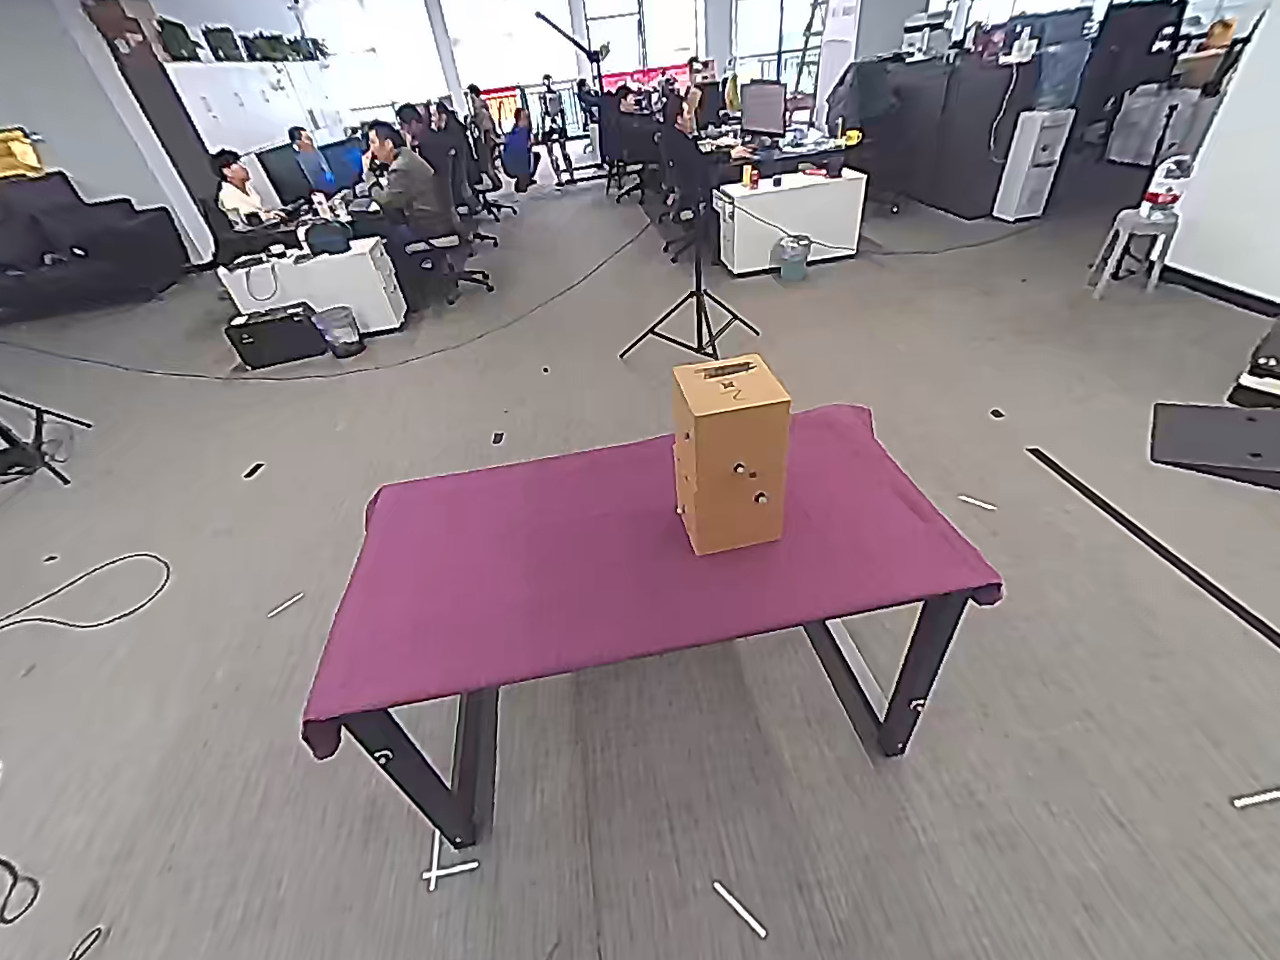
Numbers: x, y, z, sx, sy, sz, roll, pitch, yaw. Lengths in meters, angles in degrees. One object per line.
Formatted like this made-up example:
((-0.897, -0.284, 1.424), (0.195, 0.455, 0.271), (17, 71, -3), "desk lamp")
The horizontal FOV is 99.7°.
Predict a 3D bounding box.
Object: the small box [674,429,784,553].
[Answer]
((0.173, 0.023, 1.091), (0.179, 0.176, 0.168), (-11, 38, -4), "small box")
